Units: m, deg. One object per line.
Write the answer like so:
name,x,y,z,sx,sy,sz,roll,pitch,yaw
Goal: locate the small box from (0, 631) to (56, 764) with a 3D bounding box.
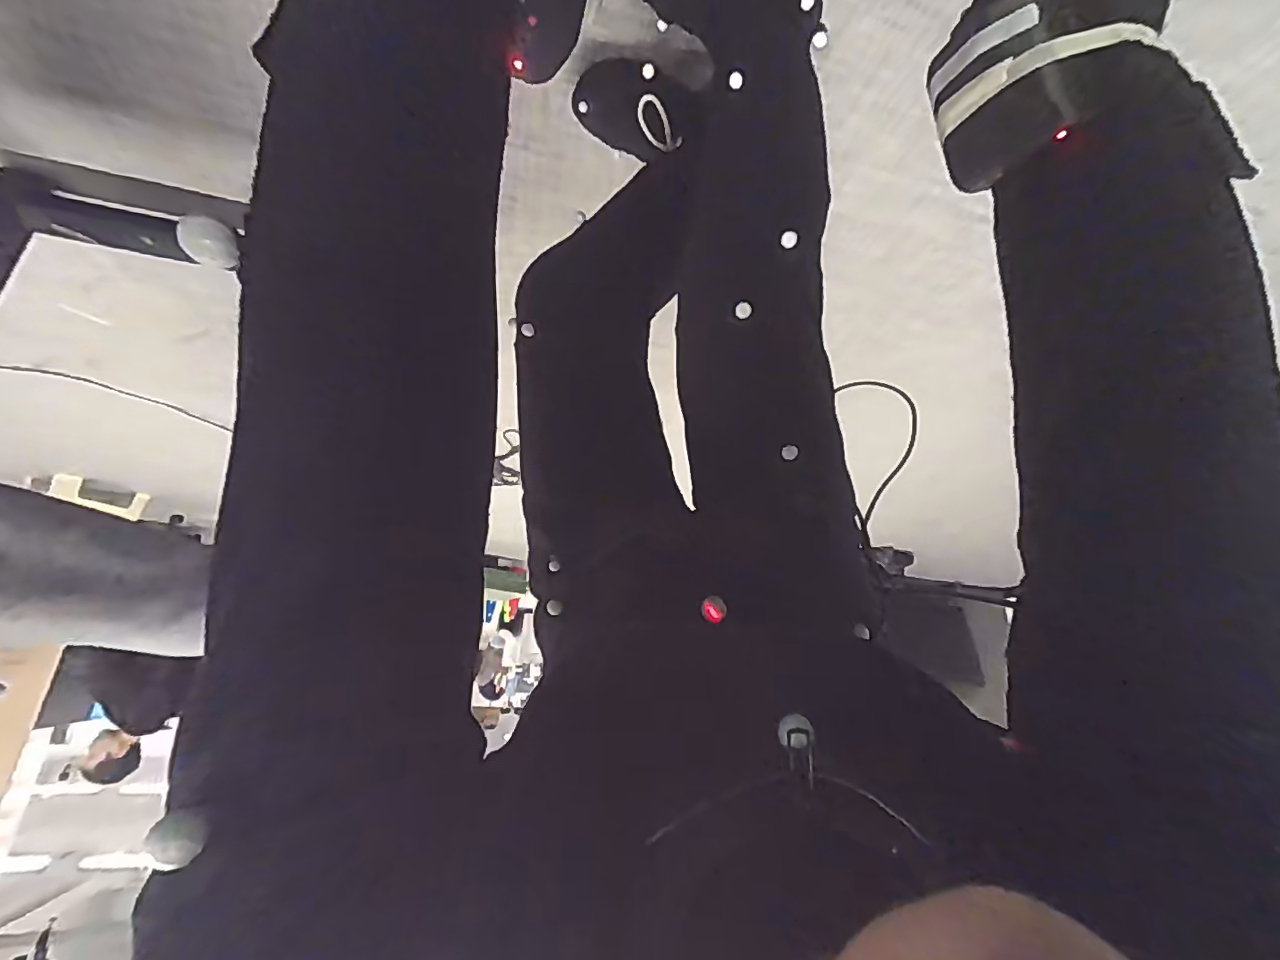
small box,-0.641,0.195,0.420,0.179,0.176,0.168,7,159,-11
